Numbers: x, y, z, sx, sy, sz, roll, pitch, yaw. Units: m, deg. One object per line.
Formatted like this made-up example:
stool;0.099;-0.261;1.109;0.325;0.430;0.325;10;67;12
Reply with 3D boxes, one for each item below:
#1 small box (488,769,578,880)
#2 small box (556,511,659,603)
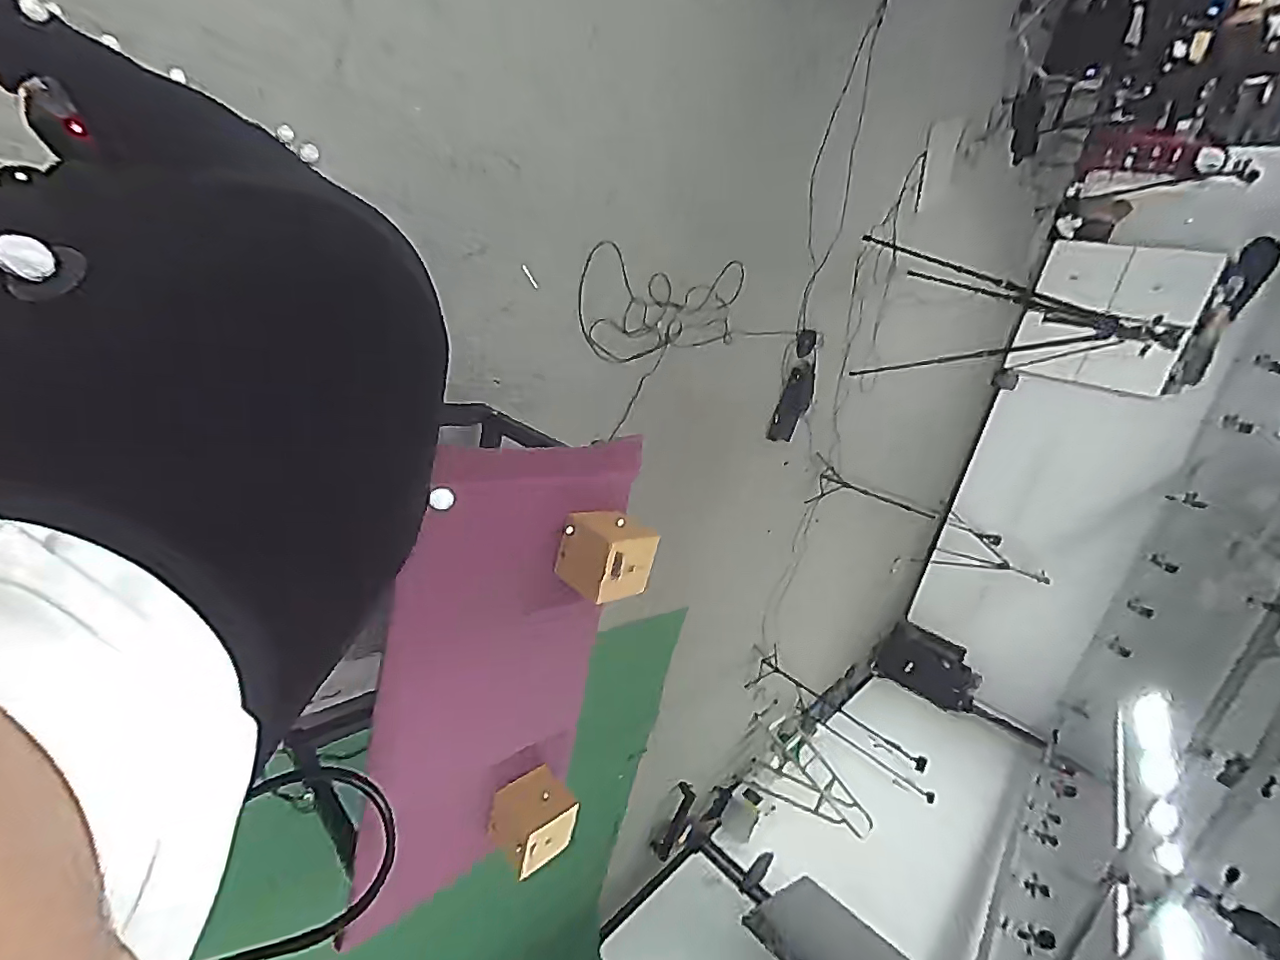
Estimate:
small box;-0.309;0.974;1.550;0.179;0.176;0.168;-6;114;-49
small box;-0.086;0.186;1.363;0.179;0.176;0.168;-1;112;-49
